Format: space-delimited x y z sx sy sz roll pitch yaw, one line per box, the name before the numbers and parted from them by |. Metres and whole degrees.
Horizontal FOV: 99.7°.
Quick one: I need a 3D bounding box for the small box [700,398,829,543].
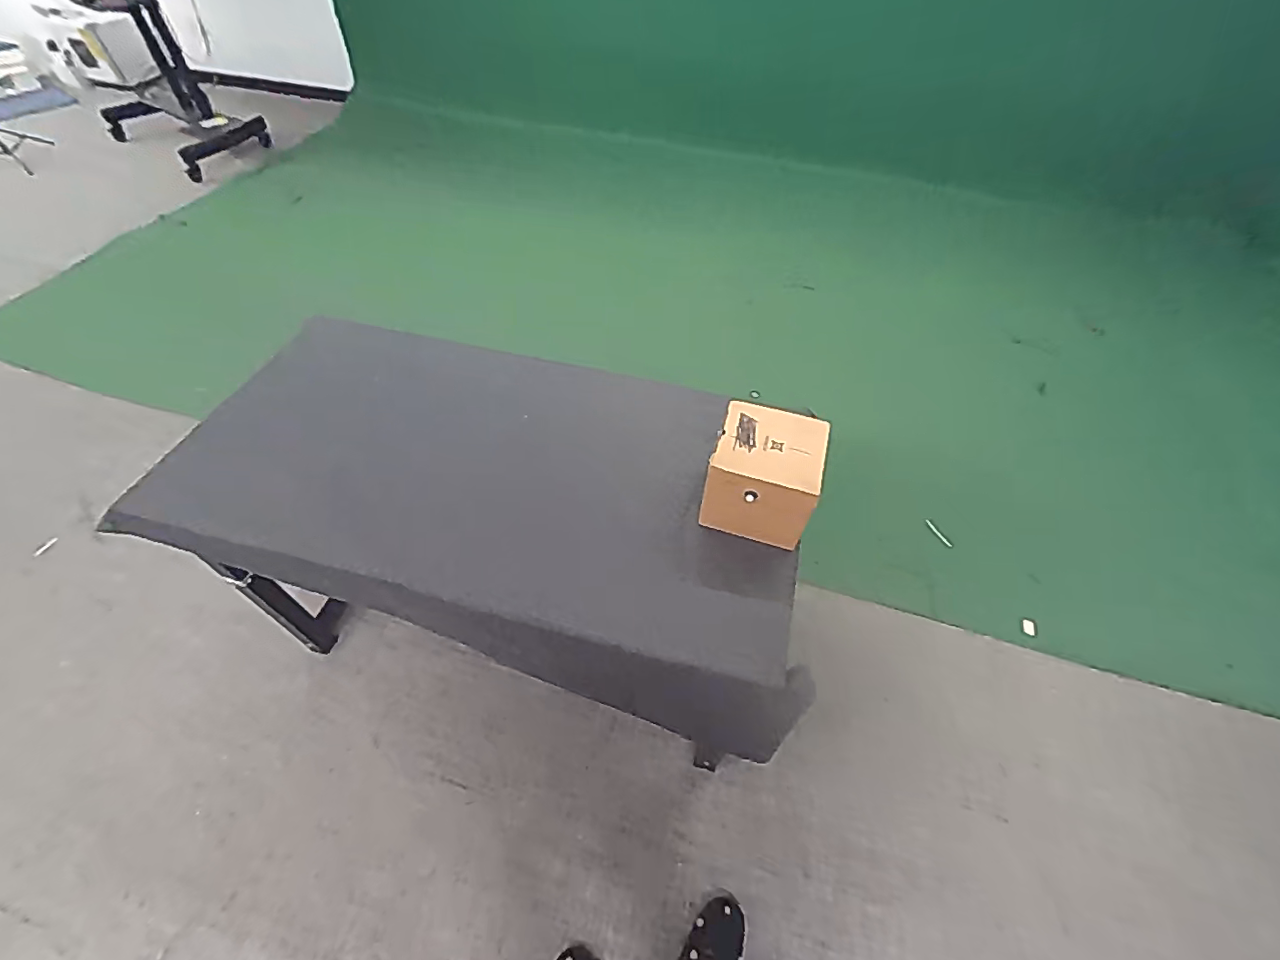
small box | 0.213 -0.013 0.950 0.179 0.176 0.168 16 52 8
